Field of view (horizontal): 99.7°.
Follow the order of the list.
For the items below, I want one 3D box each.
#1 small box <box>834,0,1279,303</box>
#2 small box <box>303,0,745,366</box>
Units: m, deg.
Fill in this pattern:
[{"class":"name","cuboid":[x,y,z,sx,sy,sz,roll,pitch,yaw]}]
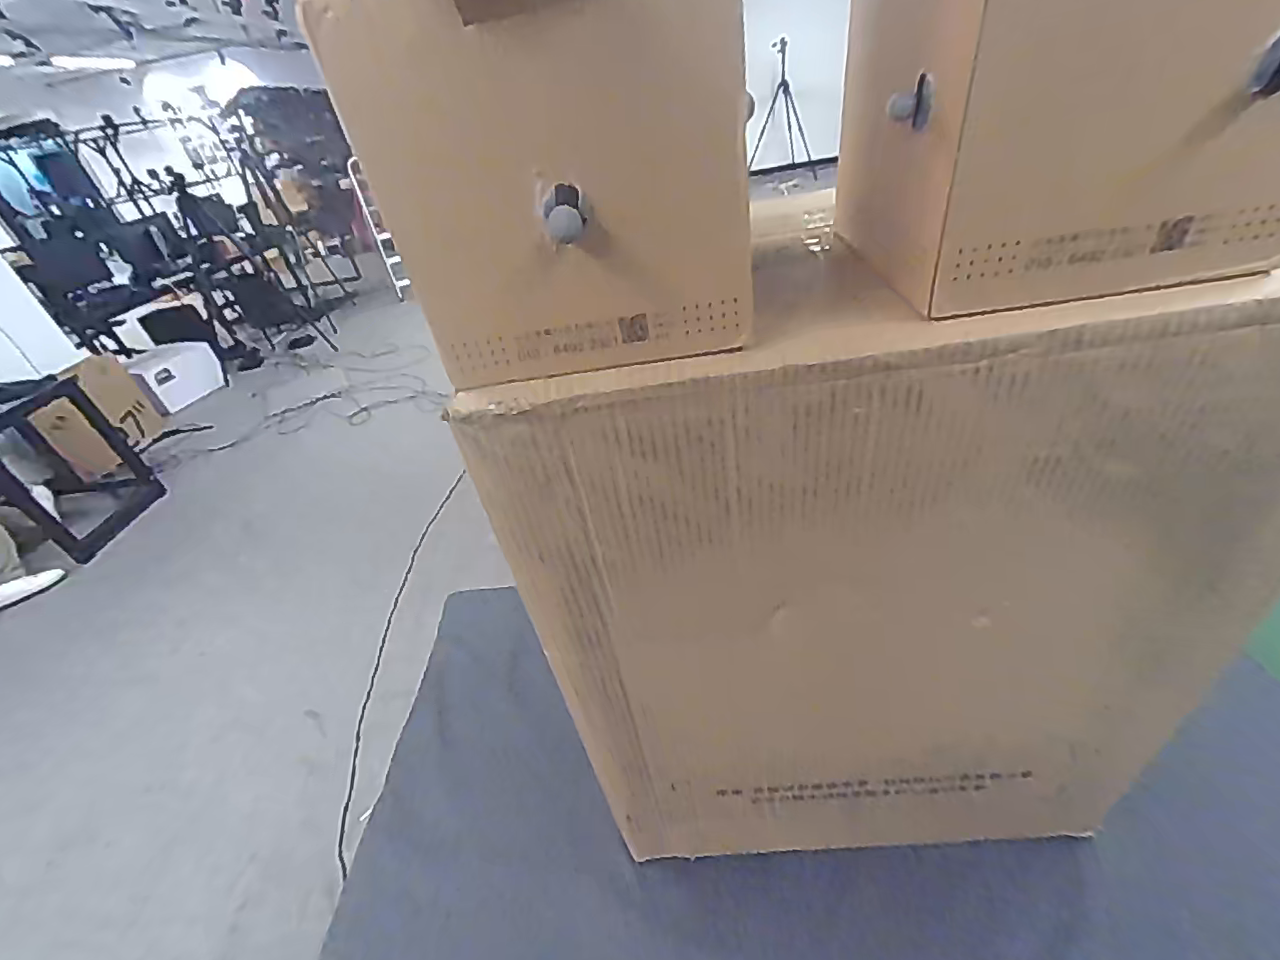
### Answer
[{"class":"small box","cuboid":[0.212,-0.201,0.283,0.168,0.176,0.179,-5,37,5]},{"class":"small box","cuboid":[-0.034,-0.175,0.308,0.168,0.176,0.179,-6,39,6]}]
